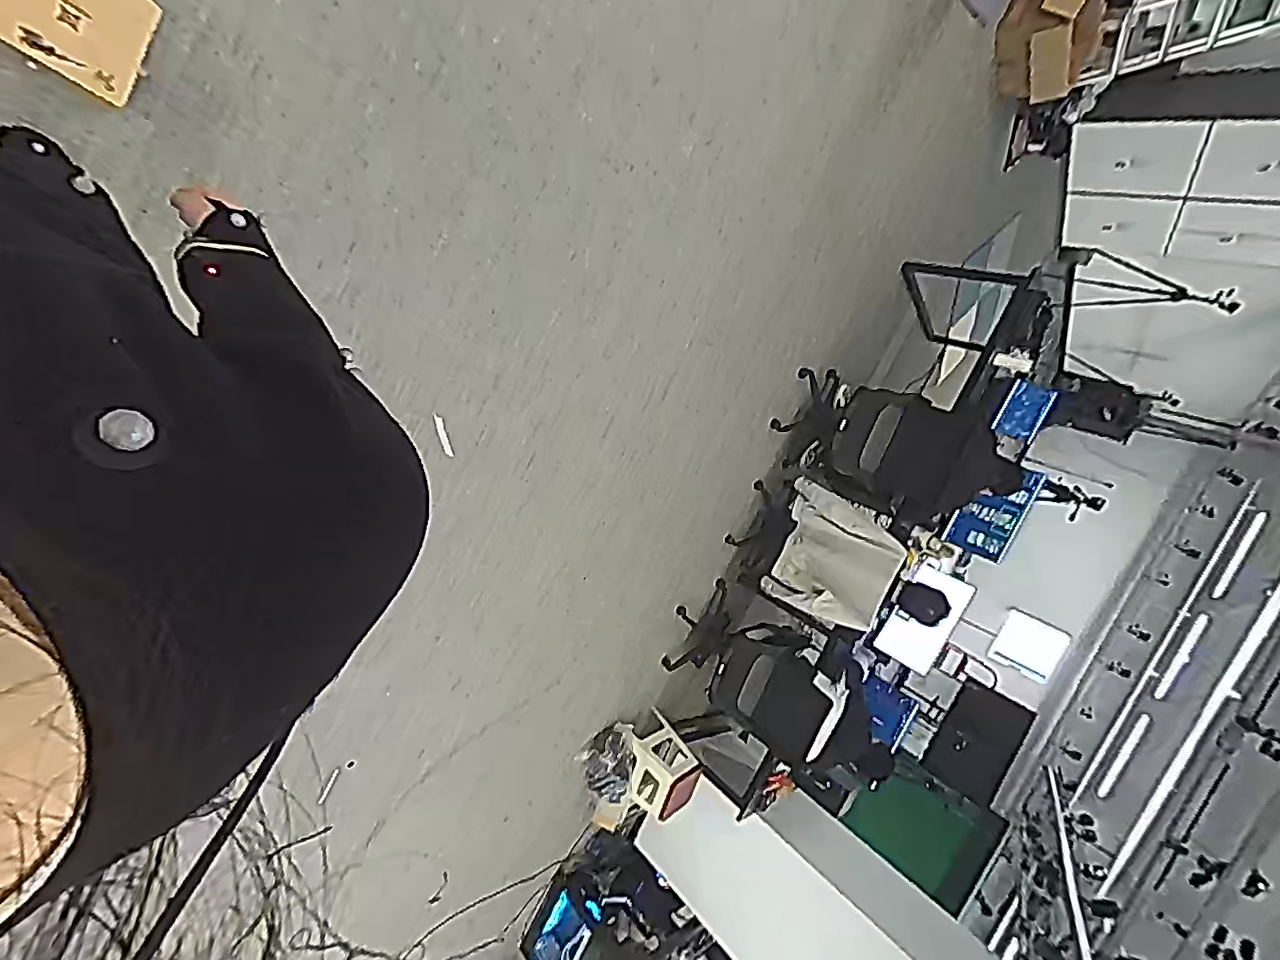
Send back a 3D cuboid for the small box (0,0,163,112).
[{"bbox_3d":[-0.906,-0.725,0.857,0.168,0.176,0.179,21,95,-53],"label":"small box"}]
